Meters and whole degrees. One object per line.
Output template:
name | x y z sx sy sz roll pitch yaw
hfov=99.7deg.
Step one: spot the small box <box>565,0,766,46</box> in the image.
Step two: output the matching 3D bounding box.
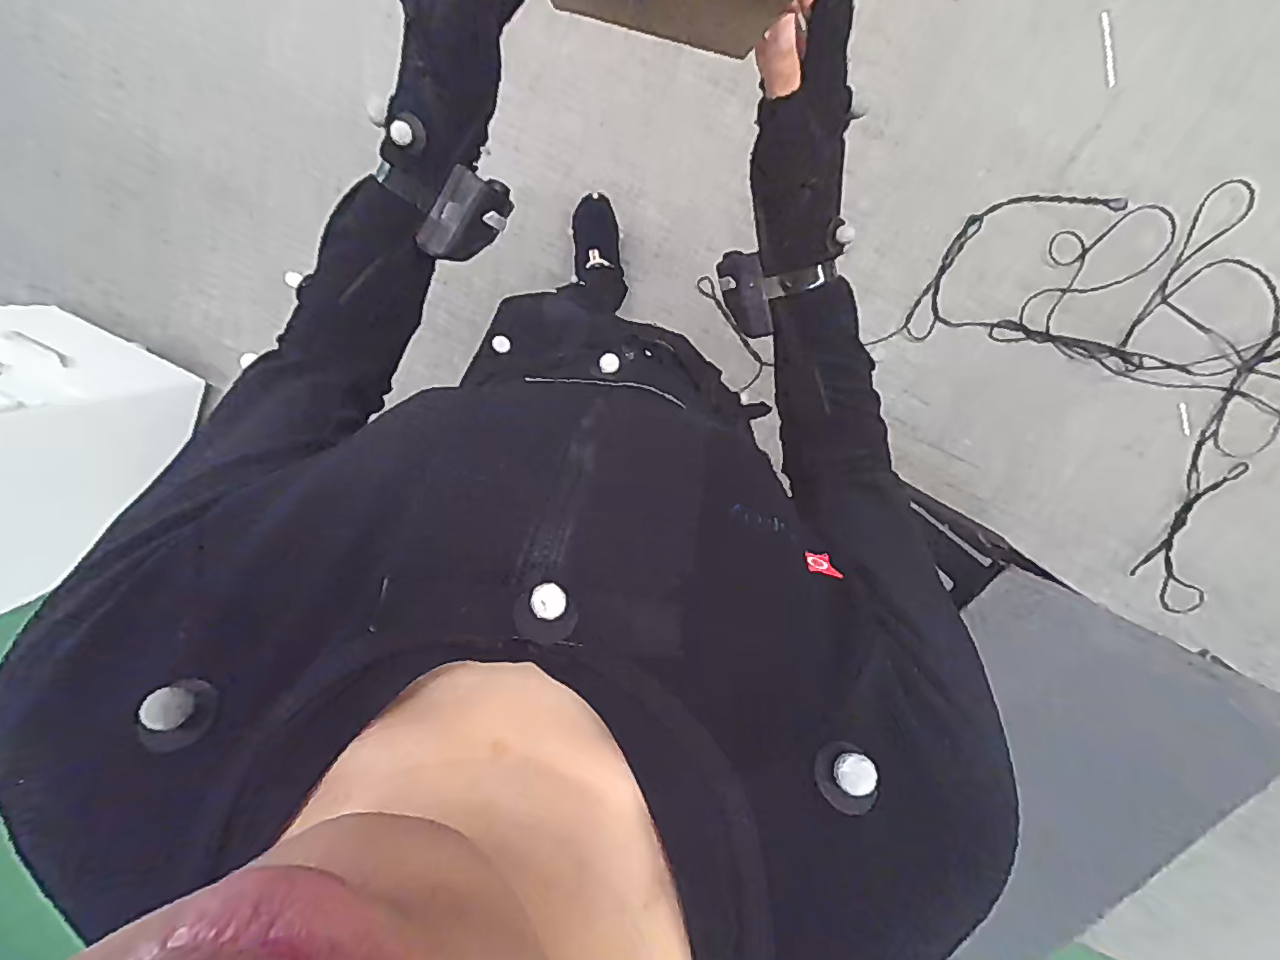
small box | 0.025 -0.431 0.366 0.179 0.176 0.168 10 117 -7
